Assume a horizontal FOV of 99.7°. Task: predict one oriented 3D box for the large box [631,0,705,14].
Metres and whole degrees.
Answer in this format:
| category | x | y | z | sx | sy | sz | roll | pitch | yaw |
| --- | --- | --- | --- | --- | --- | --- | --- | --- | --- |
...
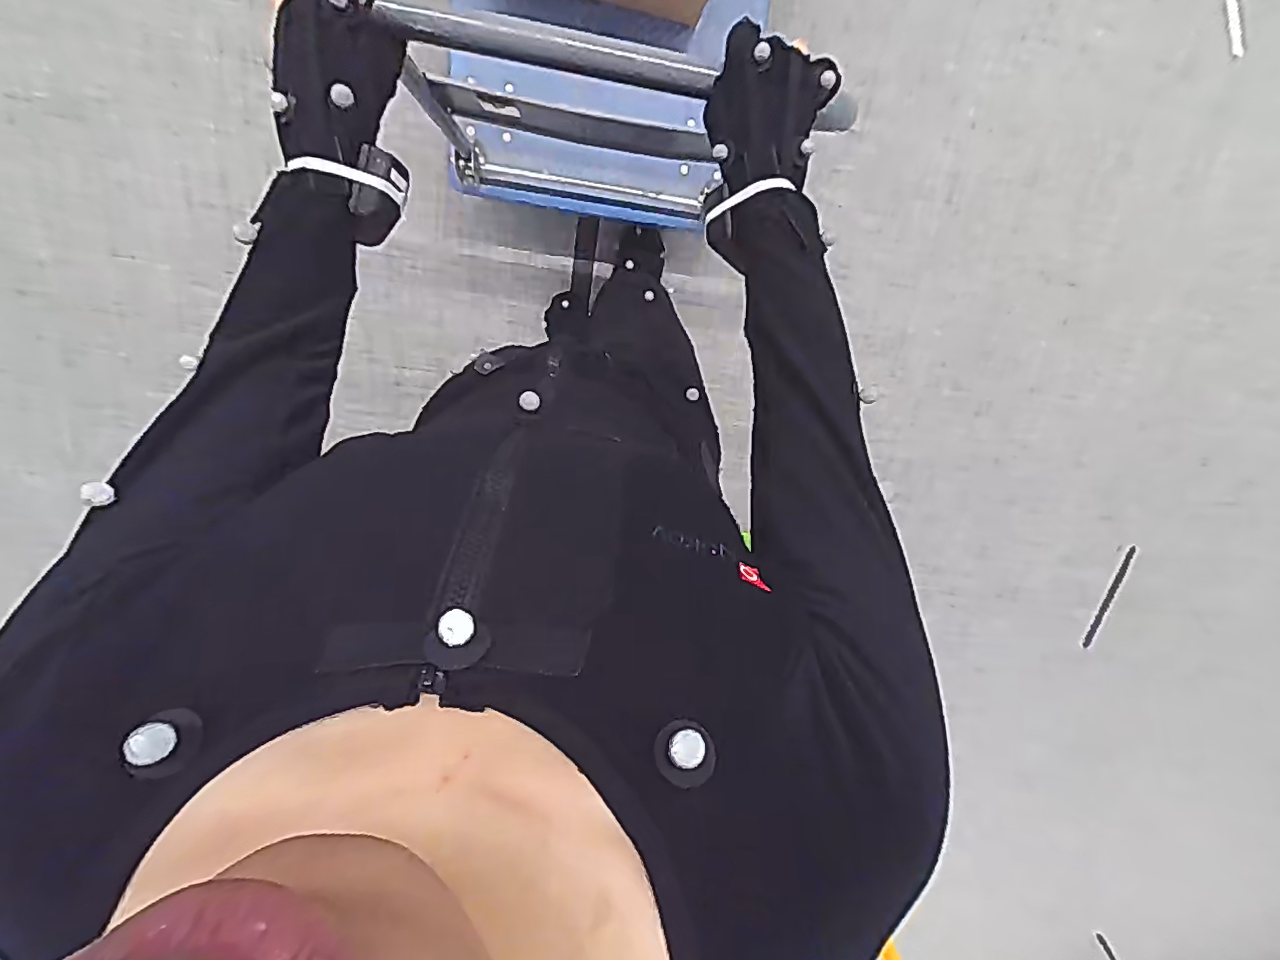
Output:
| category | x | y | z | sx | sy | sz | roll | pitch | yaw |
| --- | --- | --- | --- | --- | --- | --- | --- | --- | --- |
| large box | -0.052 | -0.975 | 0.800 | 0.408 | 0.320 | 0.320 | 8 | 110 | -7 |
